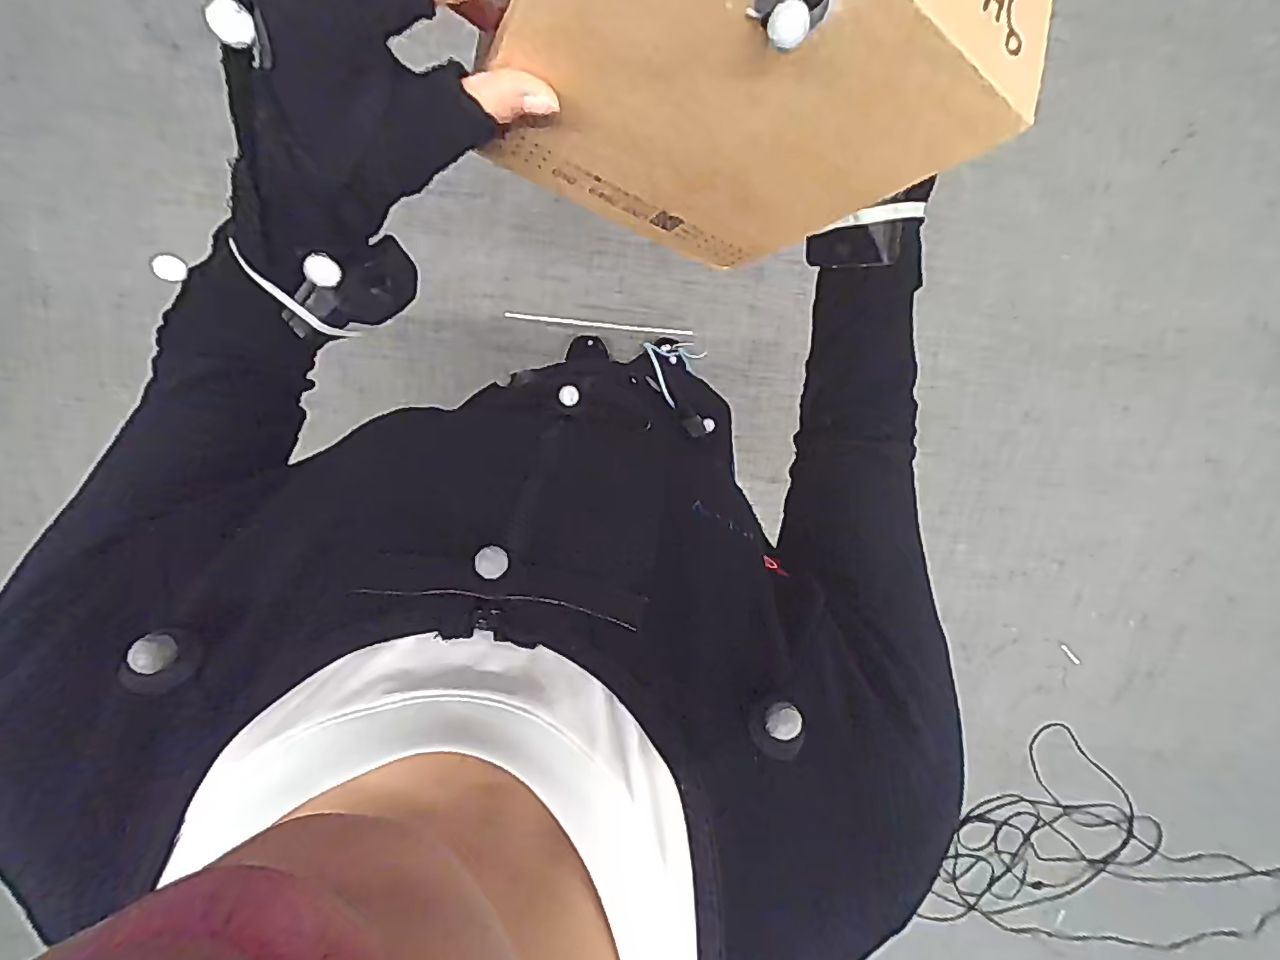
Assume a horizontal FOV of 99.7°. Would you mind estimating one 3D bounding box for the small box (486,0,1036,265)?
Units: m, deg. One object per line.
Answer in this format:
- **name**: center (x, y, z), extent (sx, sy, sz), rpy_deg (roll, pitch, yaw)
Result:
- **small box**: center (0.044, -0.230, 0.238), extent (0.168, 0.176, 0.179), rpy_deg (12, 84, -30)
